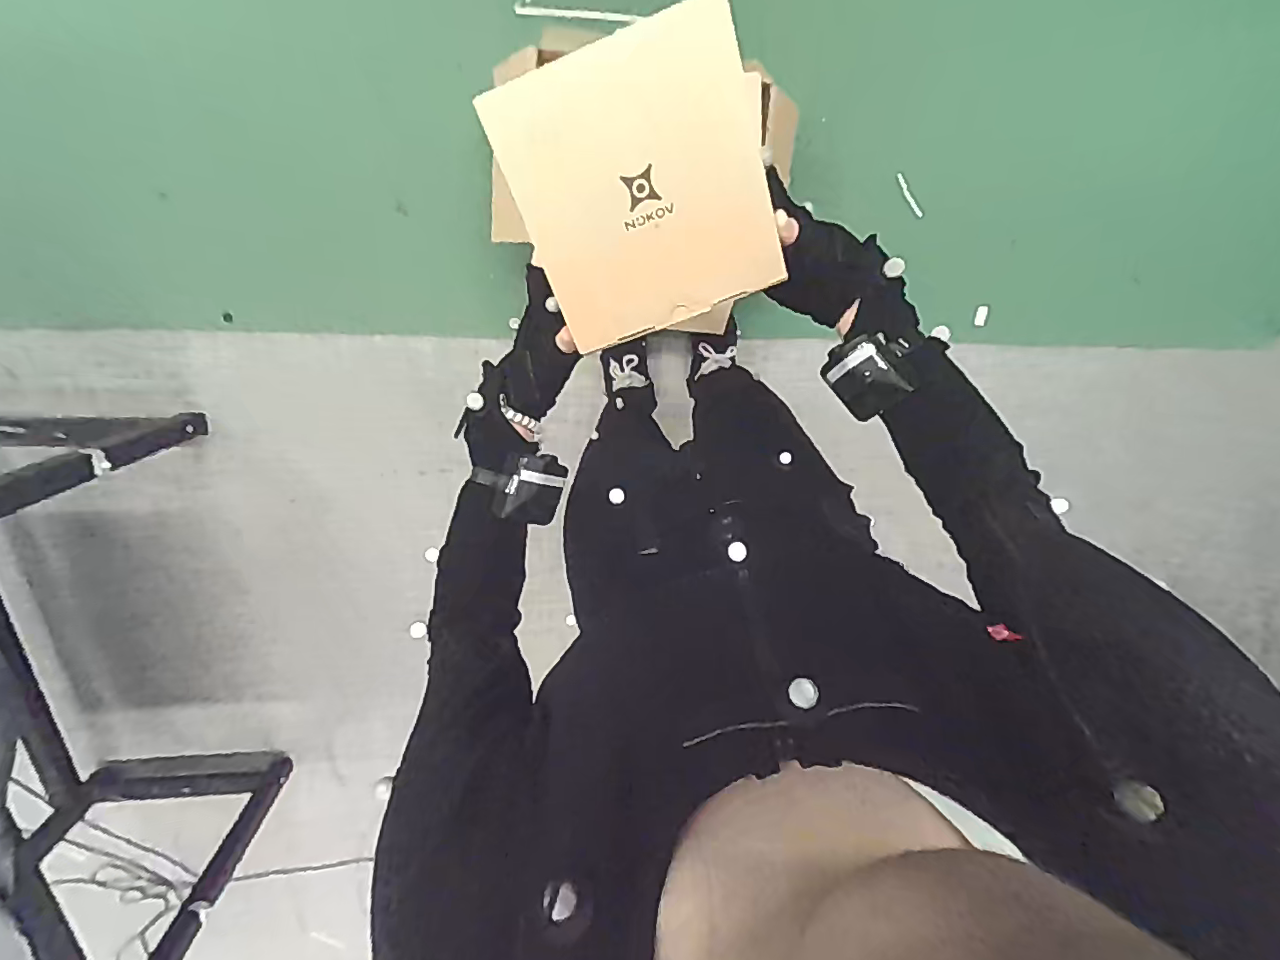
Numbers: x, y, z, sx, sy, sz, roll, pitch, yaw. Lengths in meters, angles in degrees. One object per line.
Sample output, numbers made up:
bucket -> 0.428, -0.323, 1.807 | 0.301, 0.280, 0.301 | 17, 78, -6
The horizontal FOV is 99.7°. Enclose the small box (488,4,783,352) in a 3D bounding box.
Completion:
small box -> -0.001, -0.231, 0.445 | 0.168, 0.176, 0.179 | -18, 118, 6
